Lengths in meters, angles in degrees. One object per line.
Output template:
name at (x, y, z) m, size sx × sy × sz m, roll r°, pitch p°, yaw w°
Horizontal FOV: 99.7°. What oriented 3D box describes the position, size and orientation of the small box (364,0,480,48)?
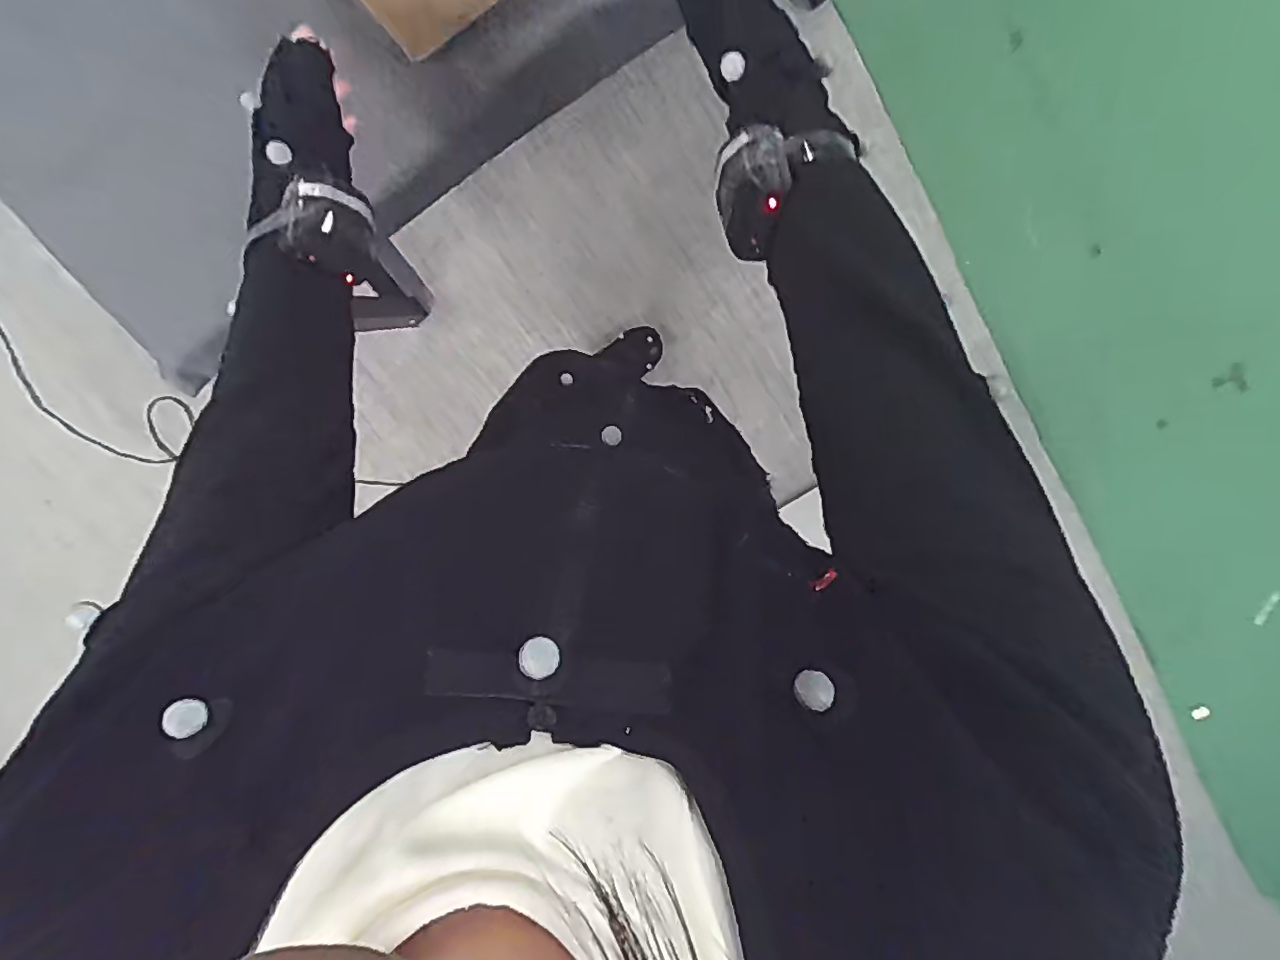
small box at (-0.202, -0.513, 0.440) m, size 0.179 × 0.176 × 0.168 m, roll -30°, pitch 105°, yaw 10°
